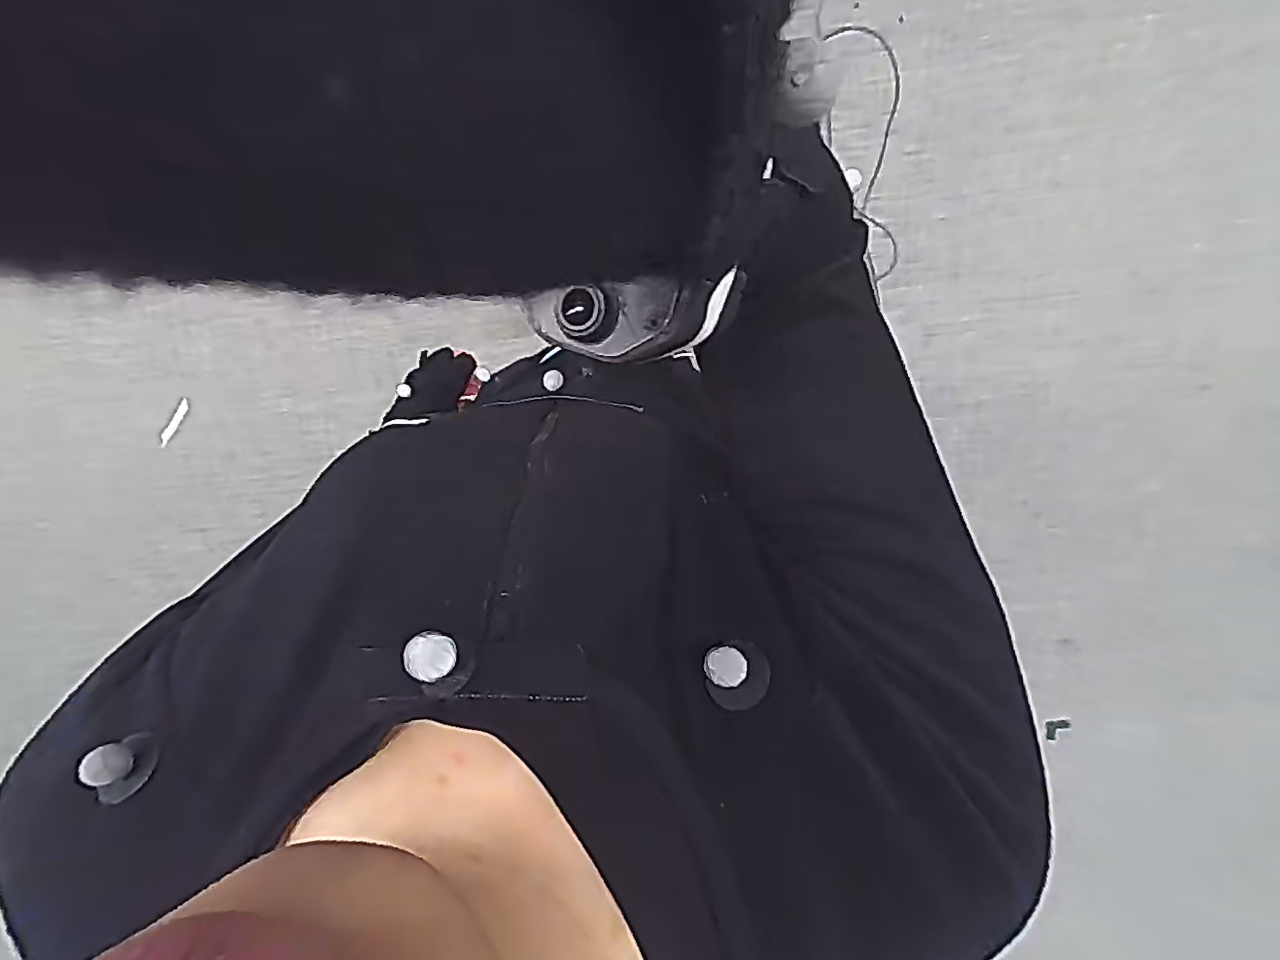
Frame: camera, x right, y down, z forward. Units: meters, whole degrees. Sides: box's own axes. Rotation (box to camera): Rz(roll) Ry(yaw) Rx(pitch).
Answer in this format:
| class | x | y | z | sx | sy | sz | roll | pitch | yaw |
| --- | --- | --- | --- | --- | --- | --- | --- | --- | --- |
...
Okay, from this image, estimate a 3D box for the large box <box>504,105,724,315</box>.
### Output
| class | x | y | z | sx | sy | sz | roll | pitch | yaw |
| --- | --- | --- | --- | --- | --- | --- | --- | --- | --- |
| large box | -0.044 | -0.564 | 1.205 | 0.408 | 0.320 | 0.320 | -7 | 103 | 4 |
